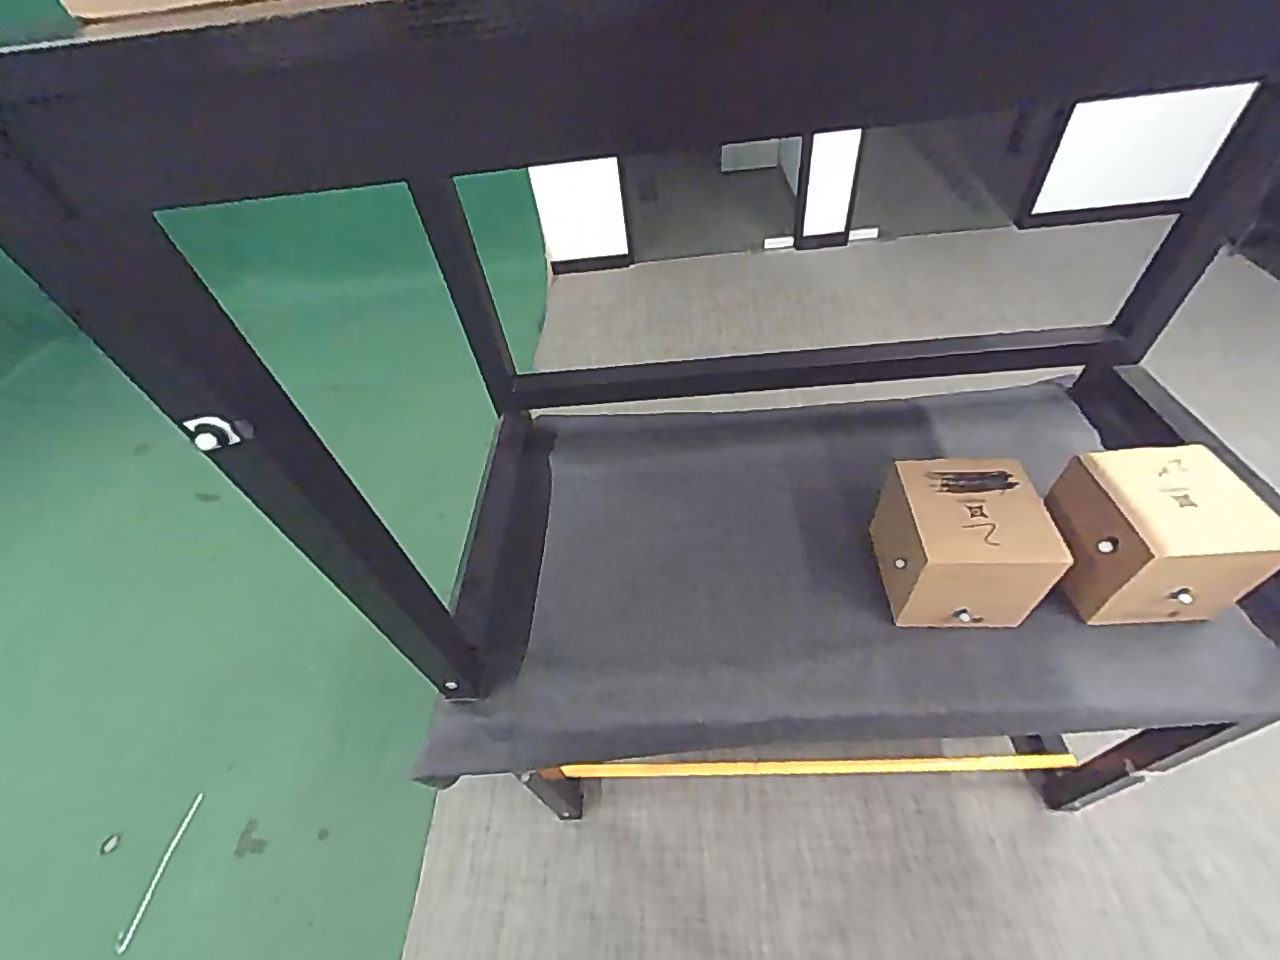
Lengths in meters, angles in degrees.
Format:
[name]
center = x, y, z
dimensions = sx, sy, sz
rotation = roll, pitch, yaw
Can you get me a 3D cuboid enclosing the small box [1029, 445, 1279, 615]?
[small box]
center = 0.688, 0.075, 0.744
dimensions = 0.168, 0.176, 0.179
rotation = -4, 47, 4
